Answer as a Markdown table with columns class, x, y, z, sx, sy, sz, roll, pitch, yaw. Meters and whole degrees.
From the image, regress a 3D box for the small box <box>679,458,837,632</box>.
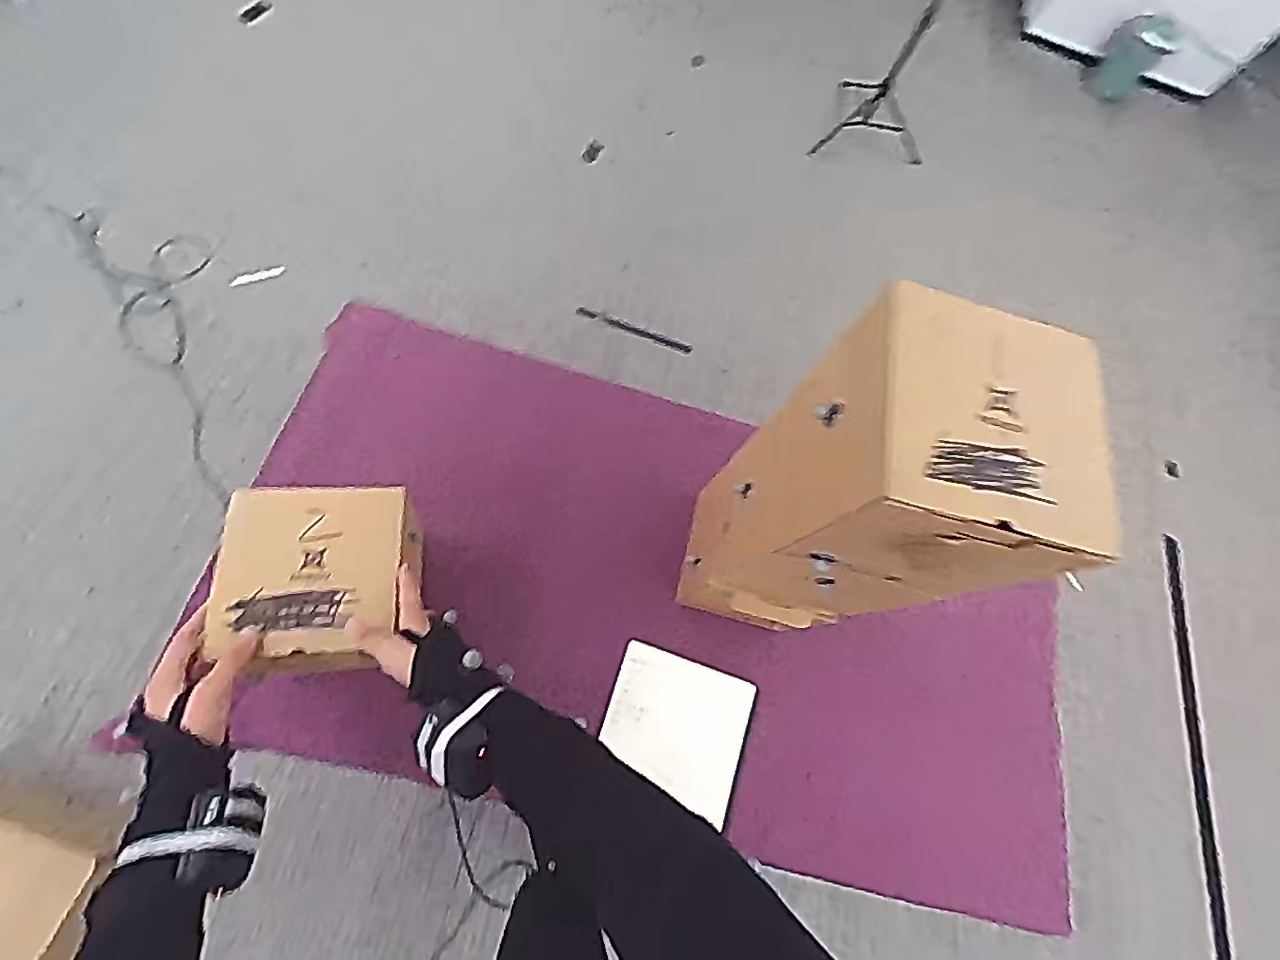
| class | x | y | z | sx | sy | sz | roll | pitch | yaw |
| --- | --- | --- | --- | --- | --- | --- | --- | --- | --- |
| small box | 0.161 | 0.099 | 0.733 | 0.168 | 0.176 | 0.179 | 17 | 68 | -5 |

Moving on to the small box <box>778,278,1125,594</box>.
| class | x | y | z | sx | sy | sz | roll | pitch | yaw |
| --- | --- | --- | --- | --- | --- | --- | --- | --- | --- |
| small box | 0.223 | -0.018 | 0.431 | 0.168 | 0.176 | 0.179 | 15 | 67 | -6 |

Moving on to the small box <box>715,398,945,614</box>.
| class | x | y | z | sx | sy | sz | roll | pitch | yaw |
| --- | --- | --- | --- | --- | --- | --- | --- | --- | --- |
| small box | 0.195 | 0.041 | 0.583 | 0.179 | 0.176 | 0.168 | 16 | 69 | -6 |
